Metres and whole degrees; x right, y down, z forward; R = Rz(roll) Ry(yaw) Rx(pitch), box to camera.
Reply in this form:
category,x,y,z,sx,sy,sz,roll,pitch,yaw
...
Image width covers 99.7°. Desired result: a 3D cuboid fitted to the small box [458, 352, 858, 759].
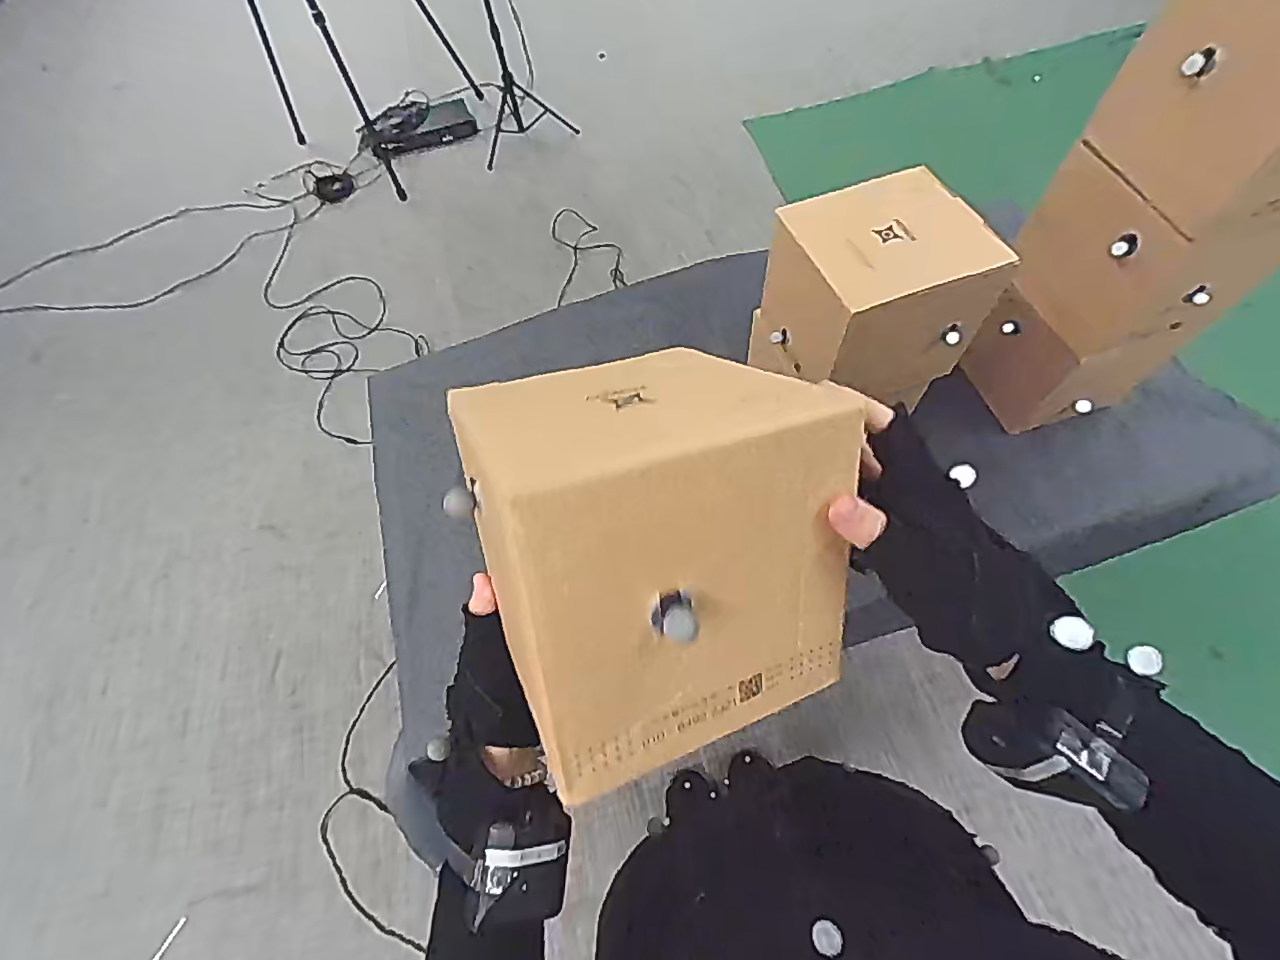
category,x,y,z,sx,sy,sz,roll,pitch,yaw
small box,0.001,0.029,0.321,0.168,0.176,0.179,-13,23,-20

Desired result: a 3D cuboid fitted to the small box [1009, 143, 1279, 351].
category,x,y,z,sx,sy,sz,roll,pitch,yaw
small box,0.570,-0.268,0.615,0.168,0.176,0.179,-14,61,-2

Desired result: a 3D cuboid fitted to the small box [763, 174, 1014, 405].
category,x,y,z,sx,sy,sz,roll,pitch,yaw
small box,0.256,-0.201,0.611,0.179,0.176,0.168,-18,61,-4
